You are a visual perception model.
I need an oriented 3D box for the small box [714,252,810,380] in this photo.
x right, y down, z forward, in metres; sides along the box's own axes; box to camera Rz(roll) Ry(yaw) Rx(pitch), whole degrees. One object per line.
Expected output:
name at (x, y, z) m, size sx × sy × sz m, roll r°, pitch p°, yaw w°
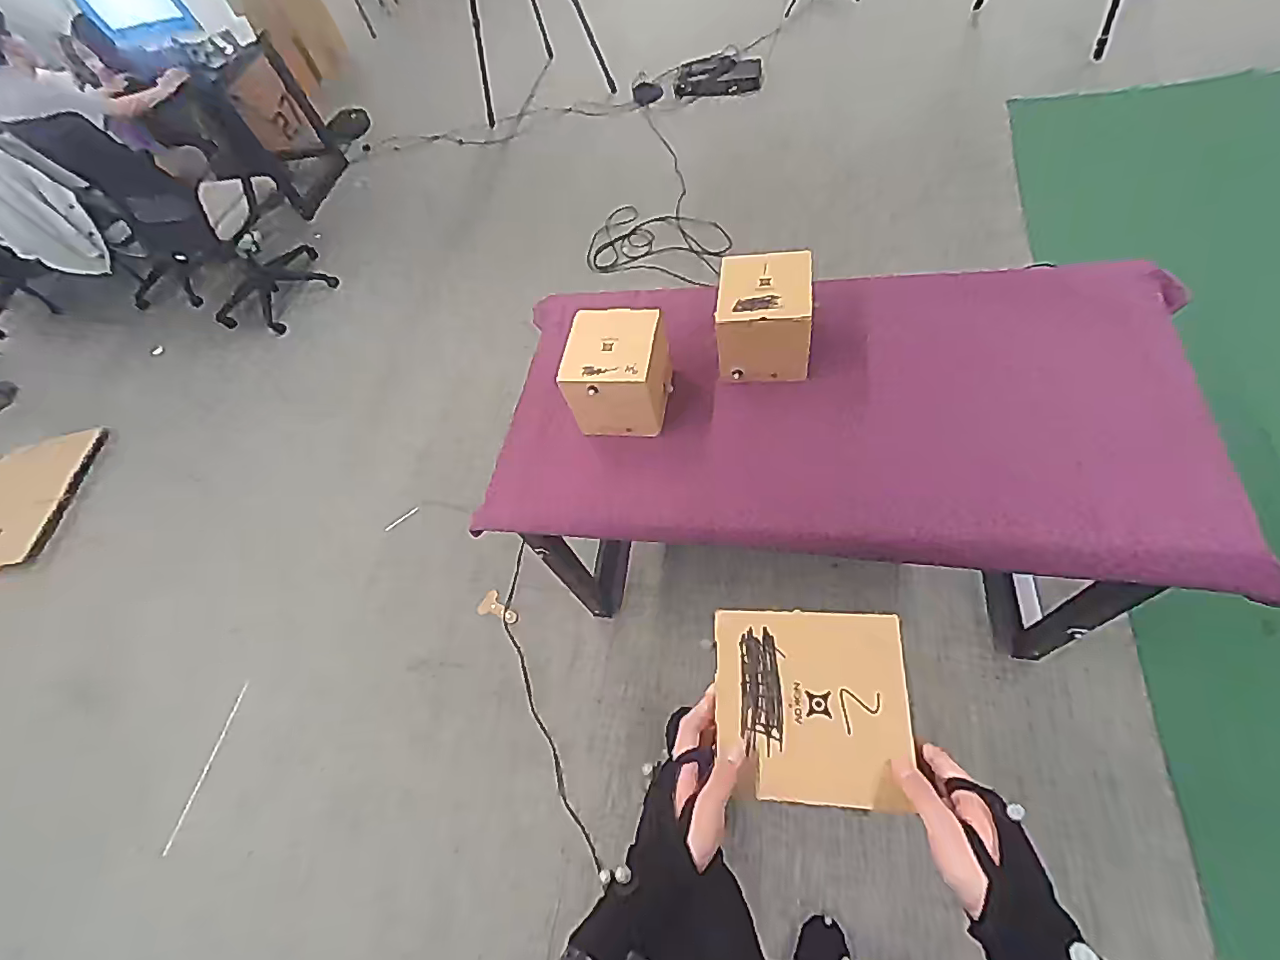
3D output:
small box at (0.238, -0.307, 1.044) m, size 0.168 × 0.176 × 0.179 m, roll 2°, pitch 59°, yaw 14°

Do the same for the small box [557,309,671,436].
small box at (-0.040, -0.205, 1.044) m, size 0.168 × 0.176 × 0.179 m, roll 2°, pitch 60°, yaw 16°
